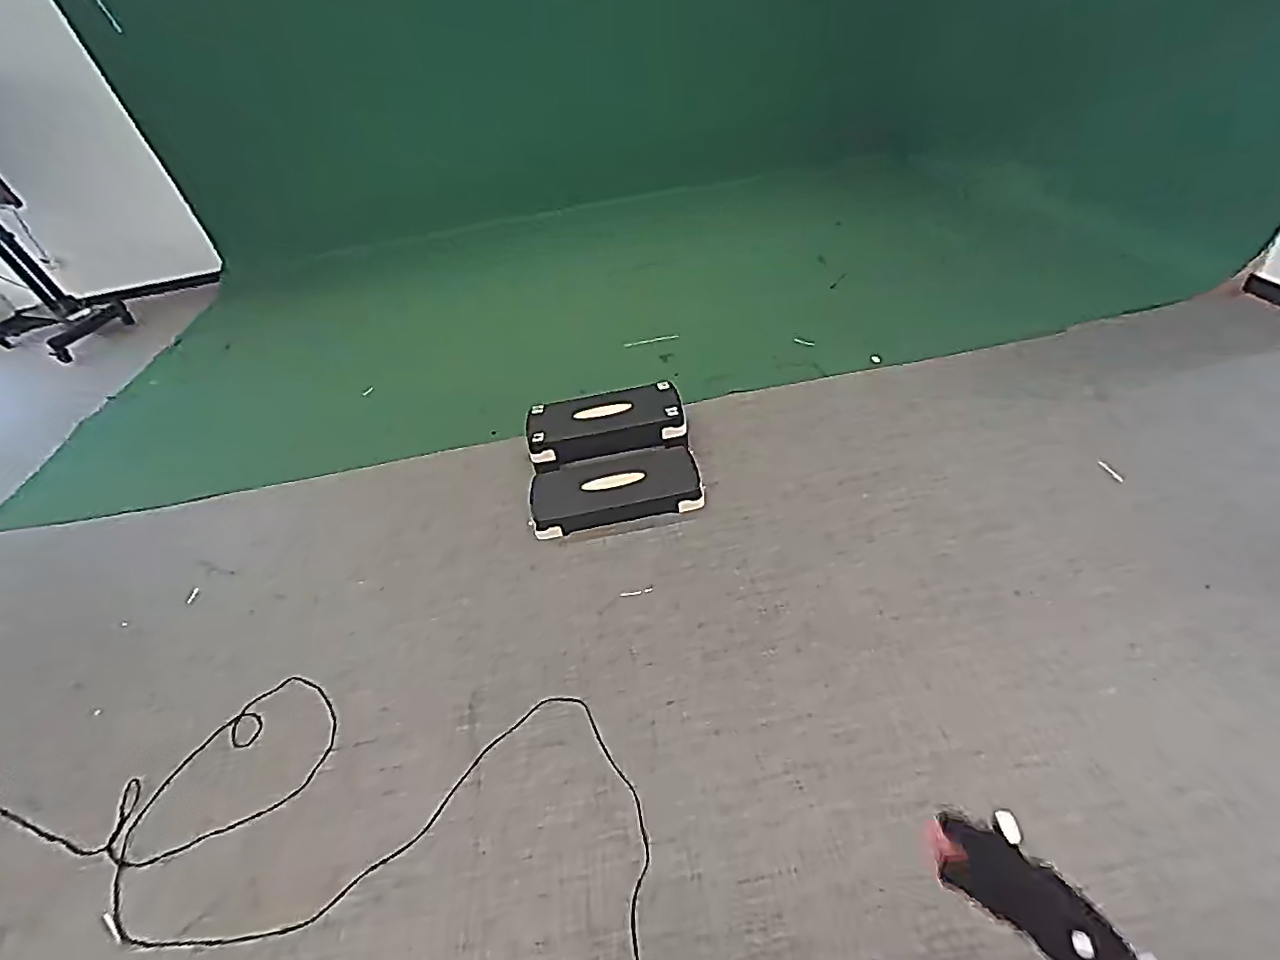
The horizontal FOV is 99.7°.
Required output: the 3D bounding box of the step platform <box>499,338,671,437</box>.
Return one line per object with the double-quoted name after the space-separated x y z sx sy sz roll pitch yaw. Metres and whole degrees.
-0.217 -0.381 2.224 0.684 0.204 0.286 -12 43 -1 "step platform"
